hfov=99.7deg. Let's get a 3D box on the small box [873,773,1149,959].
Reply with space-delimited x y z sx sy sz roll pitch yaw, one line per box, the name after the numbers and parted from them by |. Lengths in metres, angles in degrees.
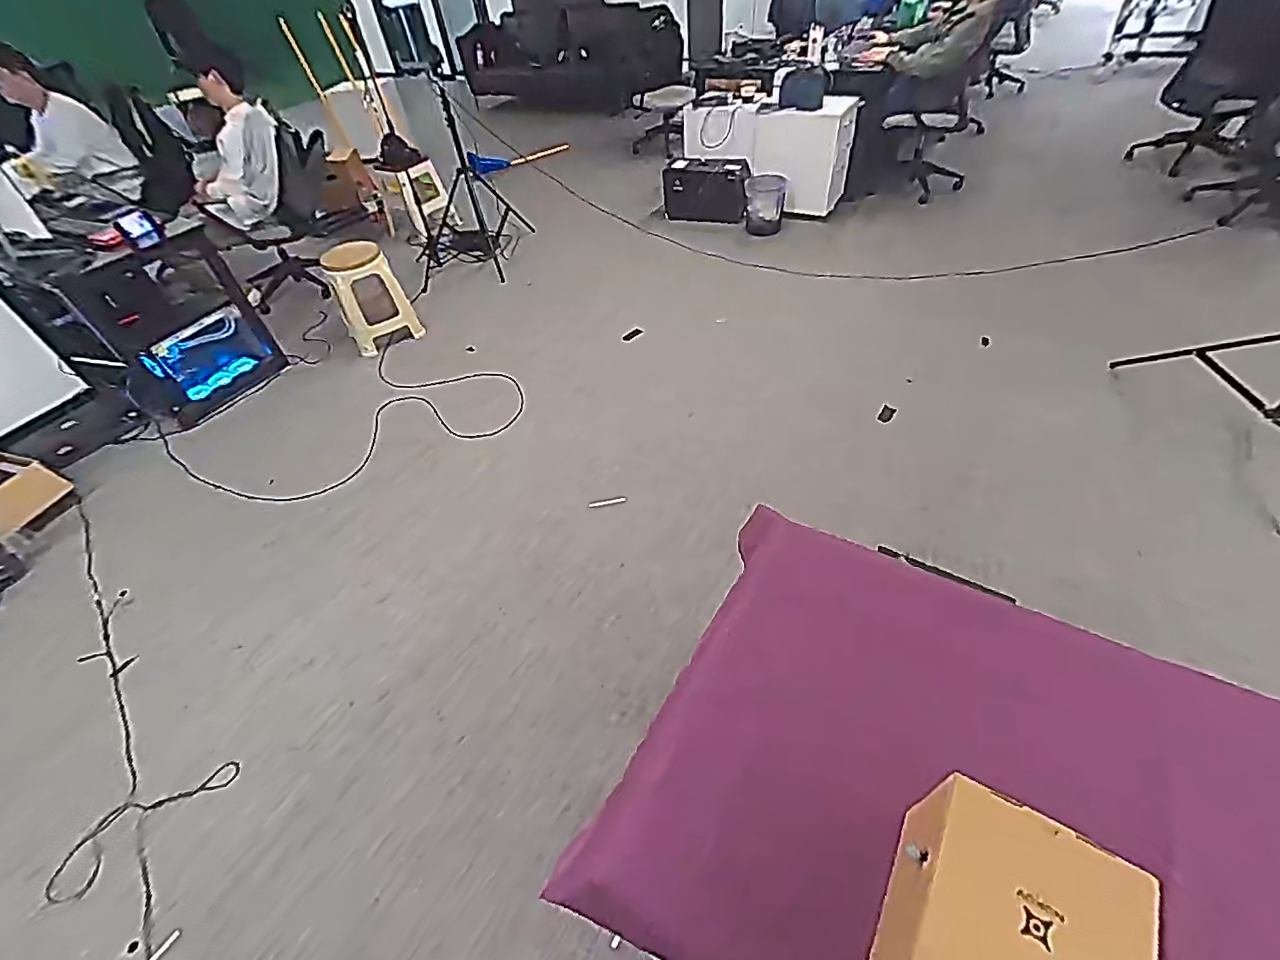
0.343 0.434 0.525 0.168 0.176 0.179 22 52 25 | small box
